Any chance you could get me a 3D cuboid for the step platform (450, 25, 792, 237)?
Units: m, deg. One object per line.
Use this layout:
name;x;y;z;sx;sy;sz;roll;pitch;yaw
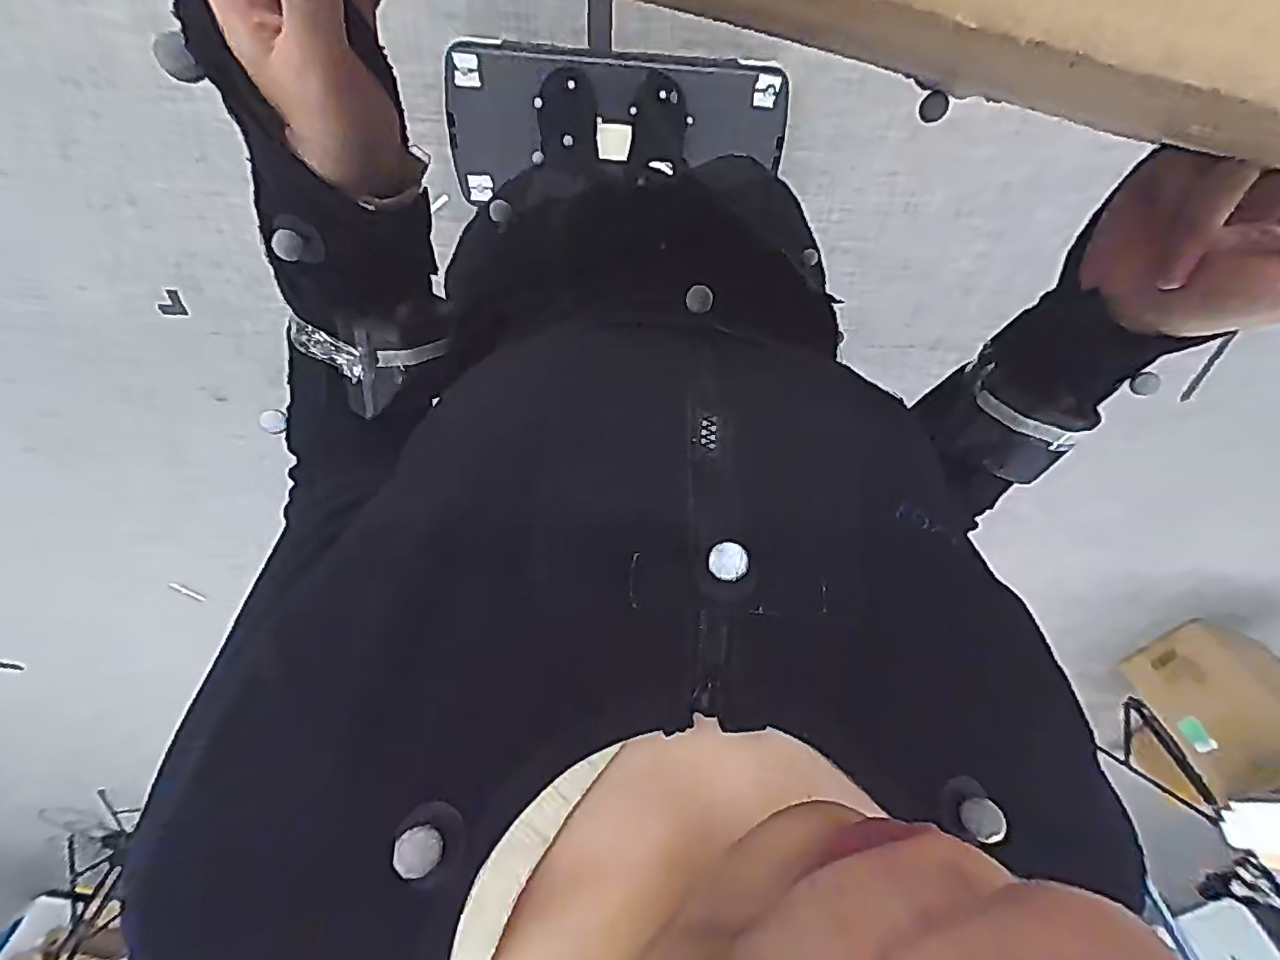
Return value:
step platform;-0.039;-0.721;1.141;0.684;0.204;0.286;5;128;-7
